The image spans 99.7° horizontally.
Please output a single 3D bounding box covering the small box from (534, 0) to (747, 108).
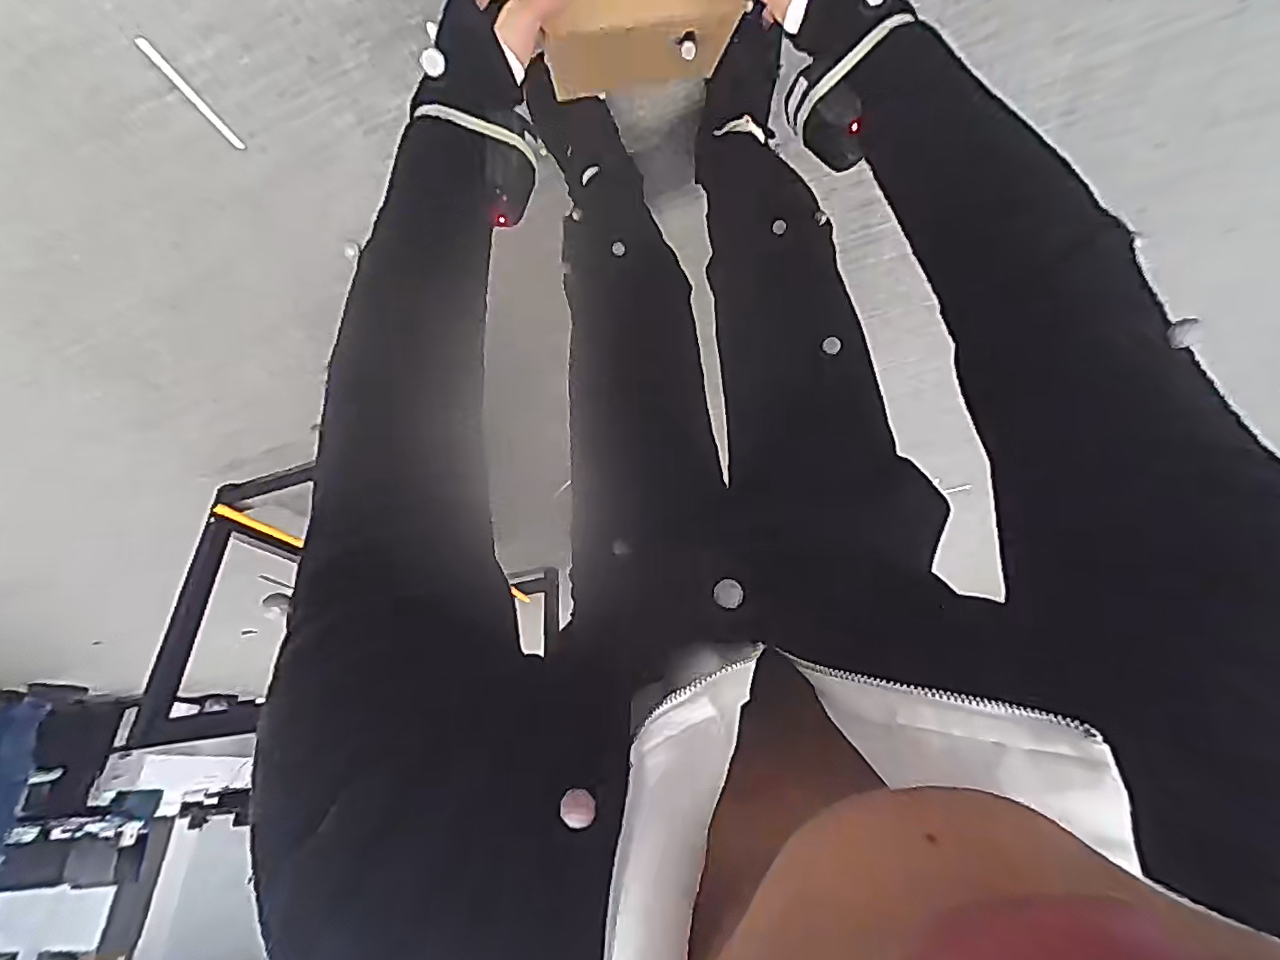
[{"bbox_3d":[-0.012,-0.474,0.499,0.179,0.176,0.168,-9,109,0],"label":"small box"}]
